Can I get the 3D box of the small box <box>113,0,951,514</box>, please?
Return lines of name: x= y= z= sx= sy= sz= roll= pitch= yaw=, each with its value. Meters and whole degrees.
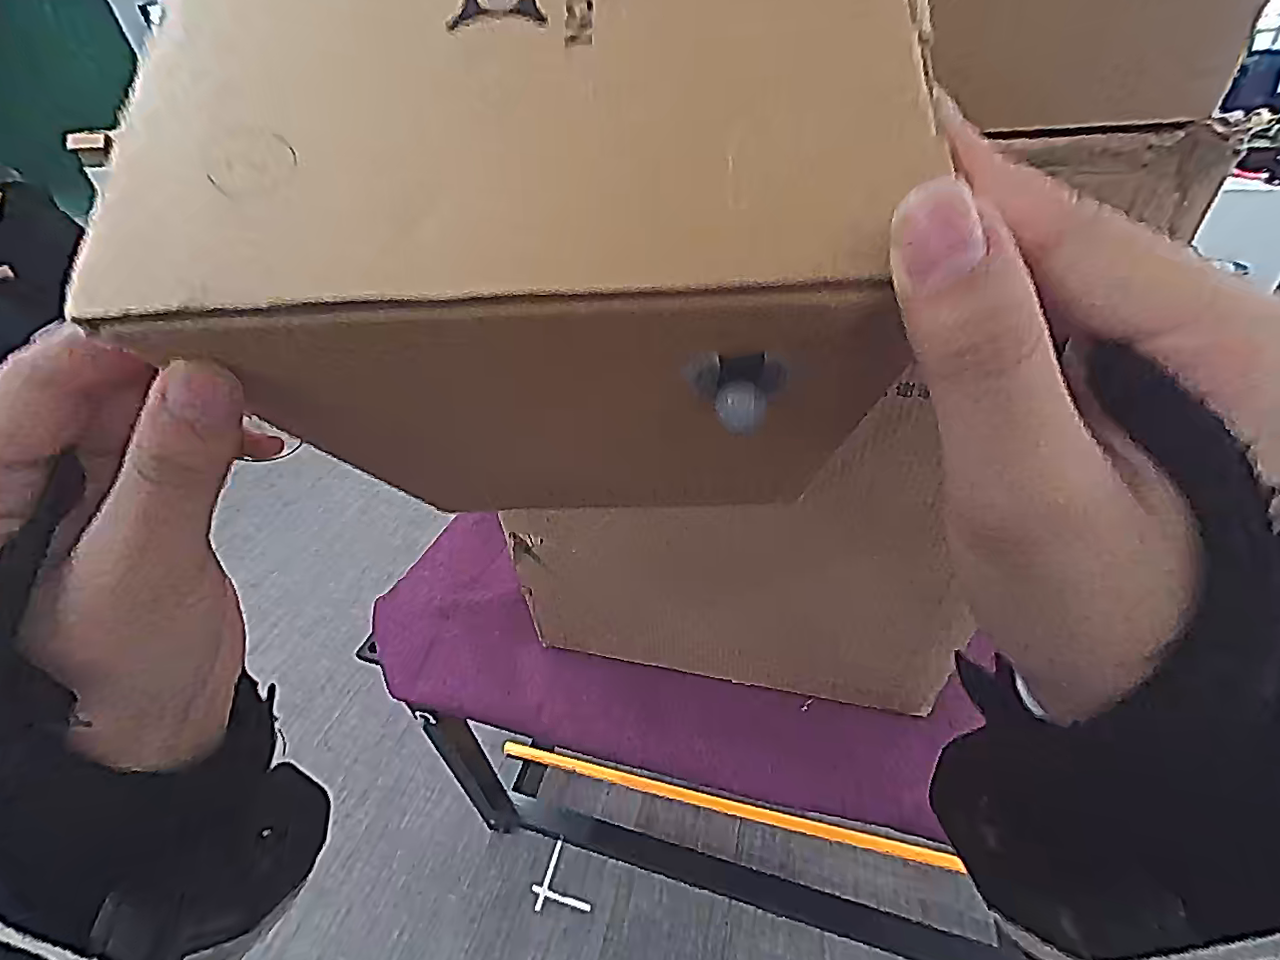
small box: x=-0.021 y=-0.084 z=0.208 sx=0.179 sy=0.176 sz=0.168 roll=-2 pitch=73 yaw=3
